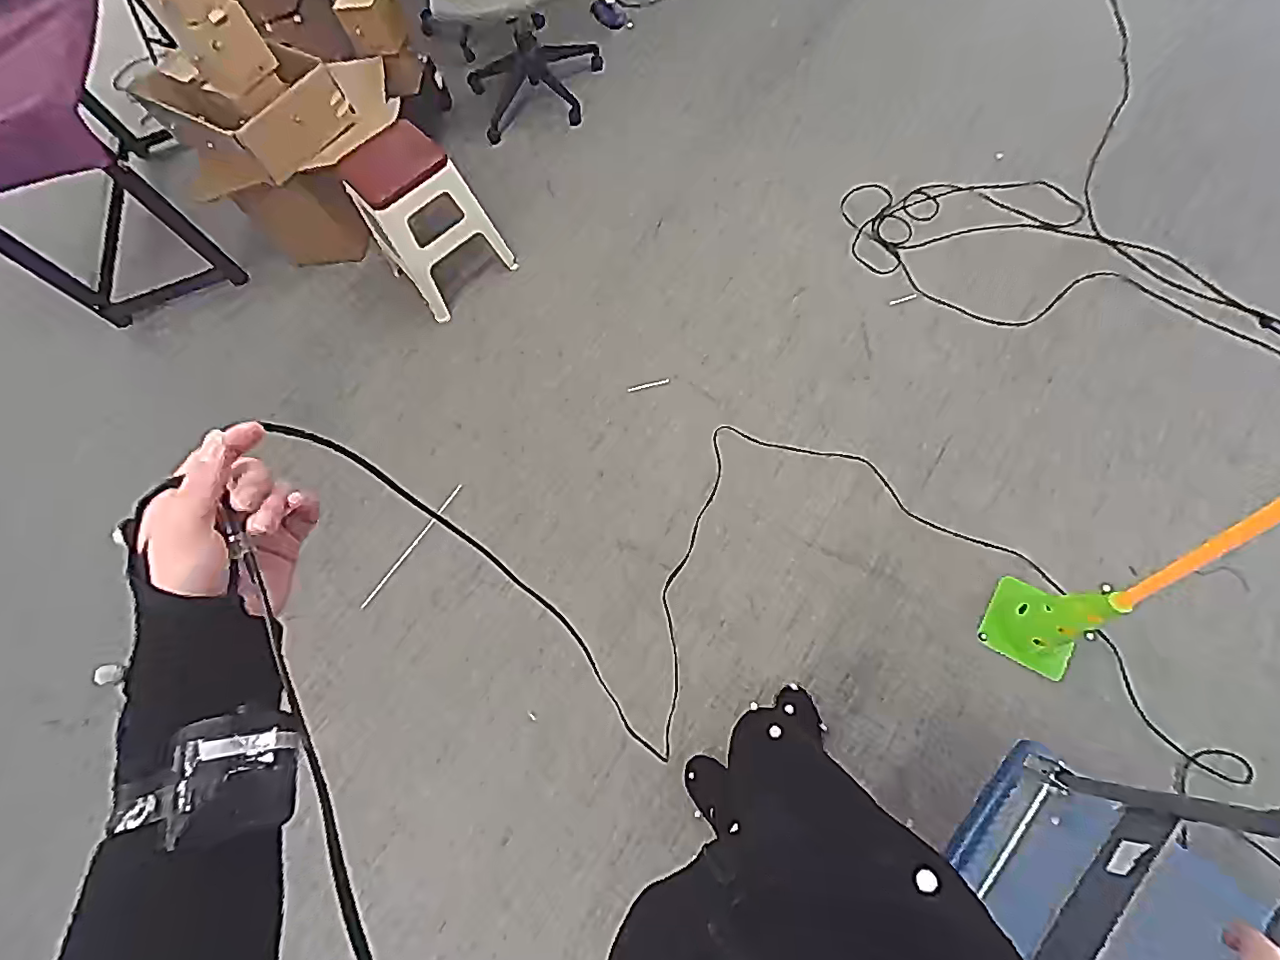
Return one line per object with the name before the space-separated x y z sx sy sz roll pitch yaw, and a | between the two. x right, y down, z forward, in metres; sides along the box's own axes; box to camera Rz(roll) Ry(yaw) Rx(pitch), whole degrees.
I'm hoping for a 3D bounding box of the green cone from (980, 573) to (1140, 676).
green cone | 0.957 0.290 1.193 0.200 0.368 0.202 28 74 18
